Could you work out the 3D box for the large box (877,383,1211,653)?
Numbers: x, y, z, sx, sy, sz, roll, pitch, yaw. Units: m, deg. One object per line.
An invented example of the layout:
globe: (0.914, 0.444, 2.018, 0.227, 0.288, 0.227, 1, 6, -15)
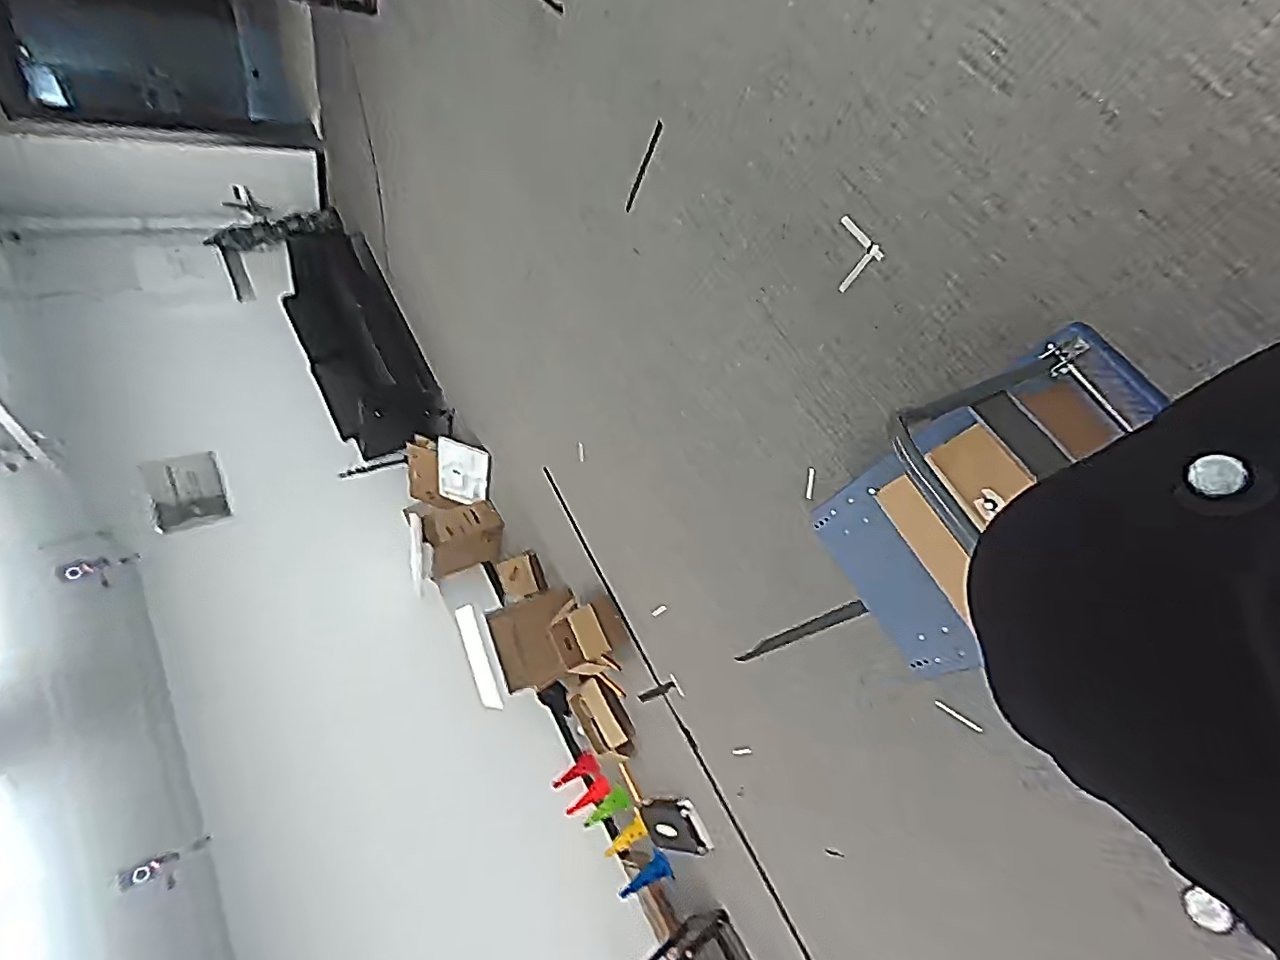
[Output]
large box: (0.791, 0.070, 1.093, 0.408, 0.320, 0.320, 61, 145, 18)
